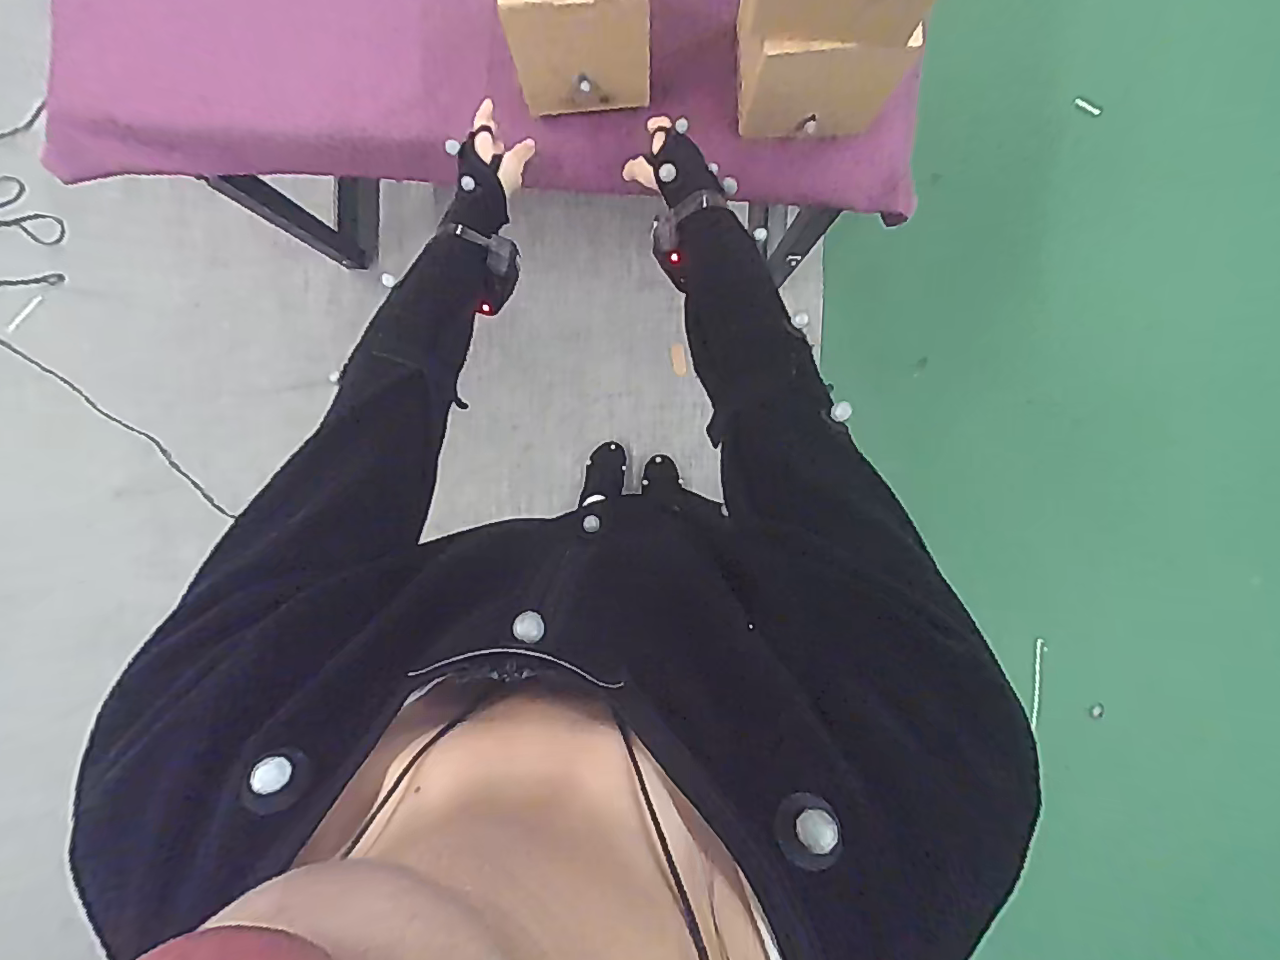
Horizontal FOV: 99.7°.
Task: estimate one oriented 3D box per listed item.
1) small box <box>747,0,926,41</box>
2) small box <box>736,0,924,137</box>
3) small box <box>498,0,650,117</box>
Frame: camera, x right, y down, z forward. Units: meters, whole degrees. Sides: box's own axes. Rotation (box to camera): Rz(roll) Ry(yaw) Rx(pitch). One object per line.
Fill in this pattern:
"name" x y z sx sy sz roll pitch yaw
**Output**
"small box" 0.206 -0.552 0.500 0.179 0.176 0.168 4 93 2
"small box" 0.220 -0.553 0.664 0.179 0.176 0.168 -2 93 1
"small box" -0.075 -0.592 0.664 0.168 0.176 0.179 -4 89 2
